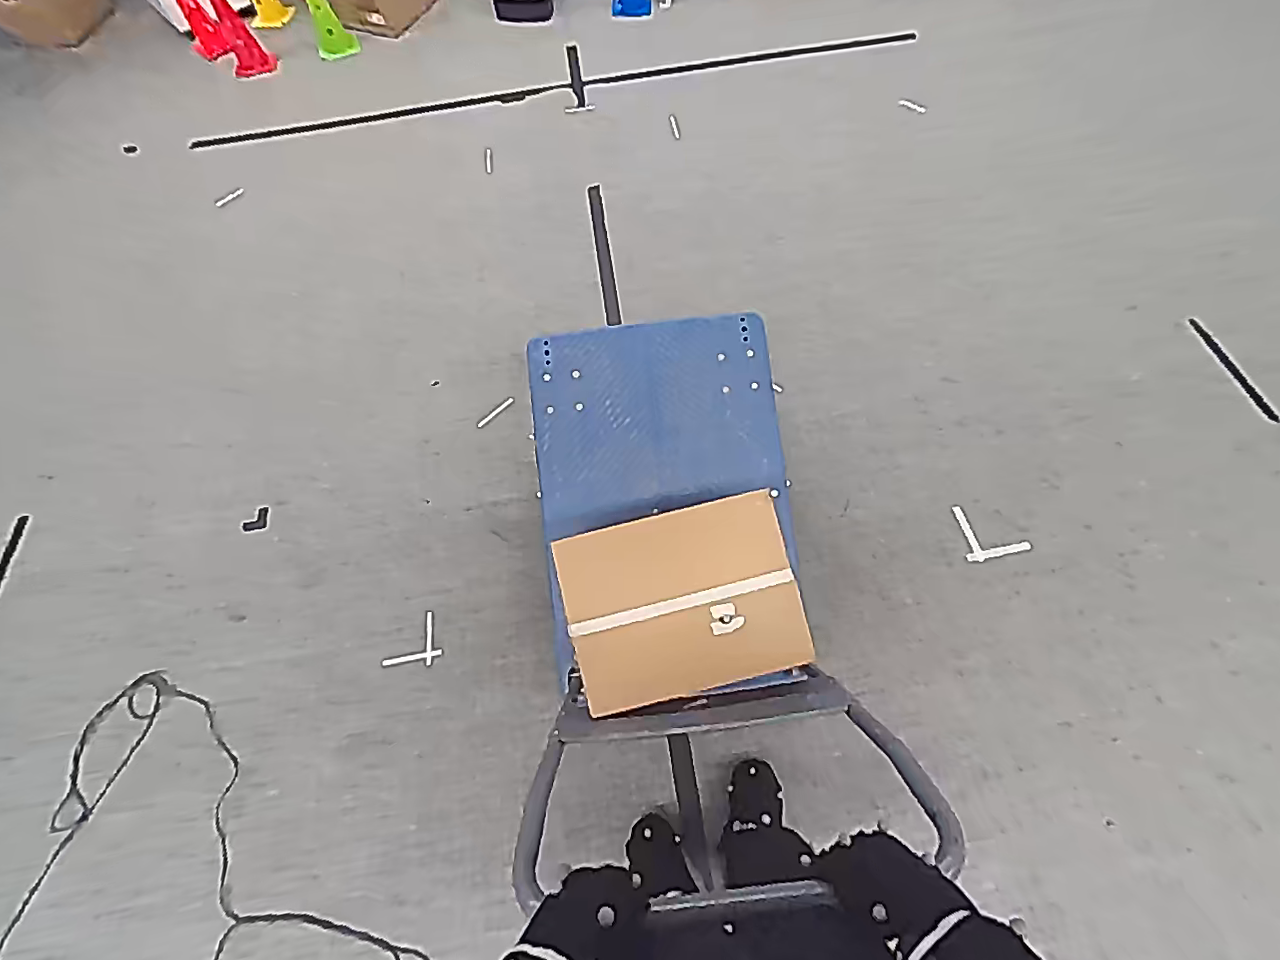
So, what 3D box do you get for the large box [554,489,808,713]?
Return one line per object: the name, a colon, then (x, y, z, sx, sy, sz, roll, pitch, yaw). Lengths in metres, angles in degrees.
large box: (0.070, 0.230, 1.118, 0.408, 0.320, 0.320, -14, 85, -2)
